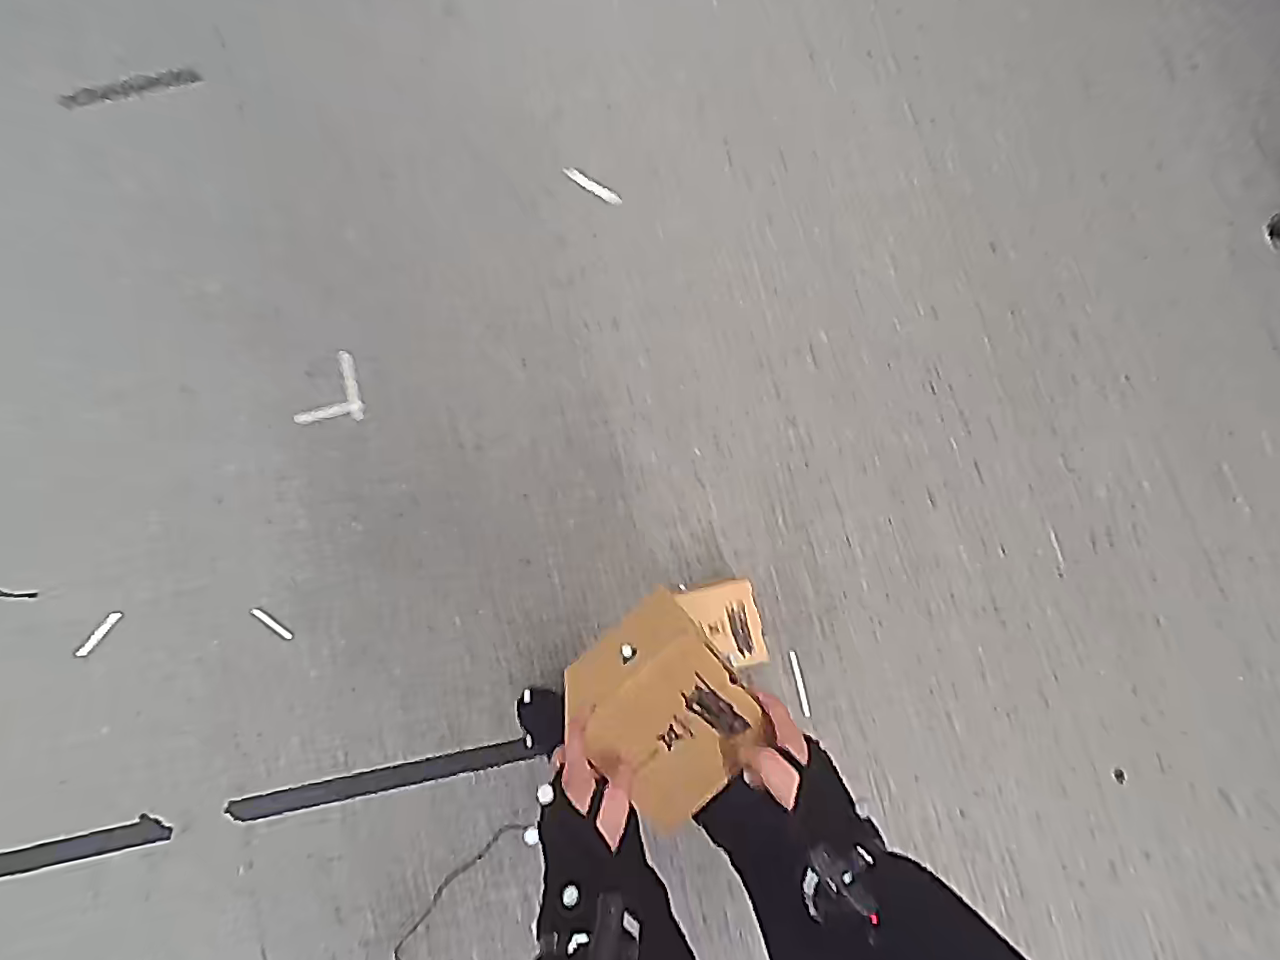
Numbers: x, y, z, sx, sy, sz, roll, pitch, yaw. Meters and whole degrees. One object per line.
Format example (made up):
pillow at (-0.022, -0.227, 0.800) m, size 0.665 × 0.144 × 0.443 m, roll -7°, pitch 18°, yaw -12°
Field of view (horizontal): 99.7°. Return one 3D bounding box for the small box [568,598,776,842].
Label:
small box at (0.025, 0.270, 0.657) m, size 0.179 × 0.176 × 0.168 m, roll -42°, pitch 97°, yaw -4°
